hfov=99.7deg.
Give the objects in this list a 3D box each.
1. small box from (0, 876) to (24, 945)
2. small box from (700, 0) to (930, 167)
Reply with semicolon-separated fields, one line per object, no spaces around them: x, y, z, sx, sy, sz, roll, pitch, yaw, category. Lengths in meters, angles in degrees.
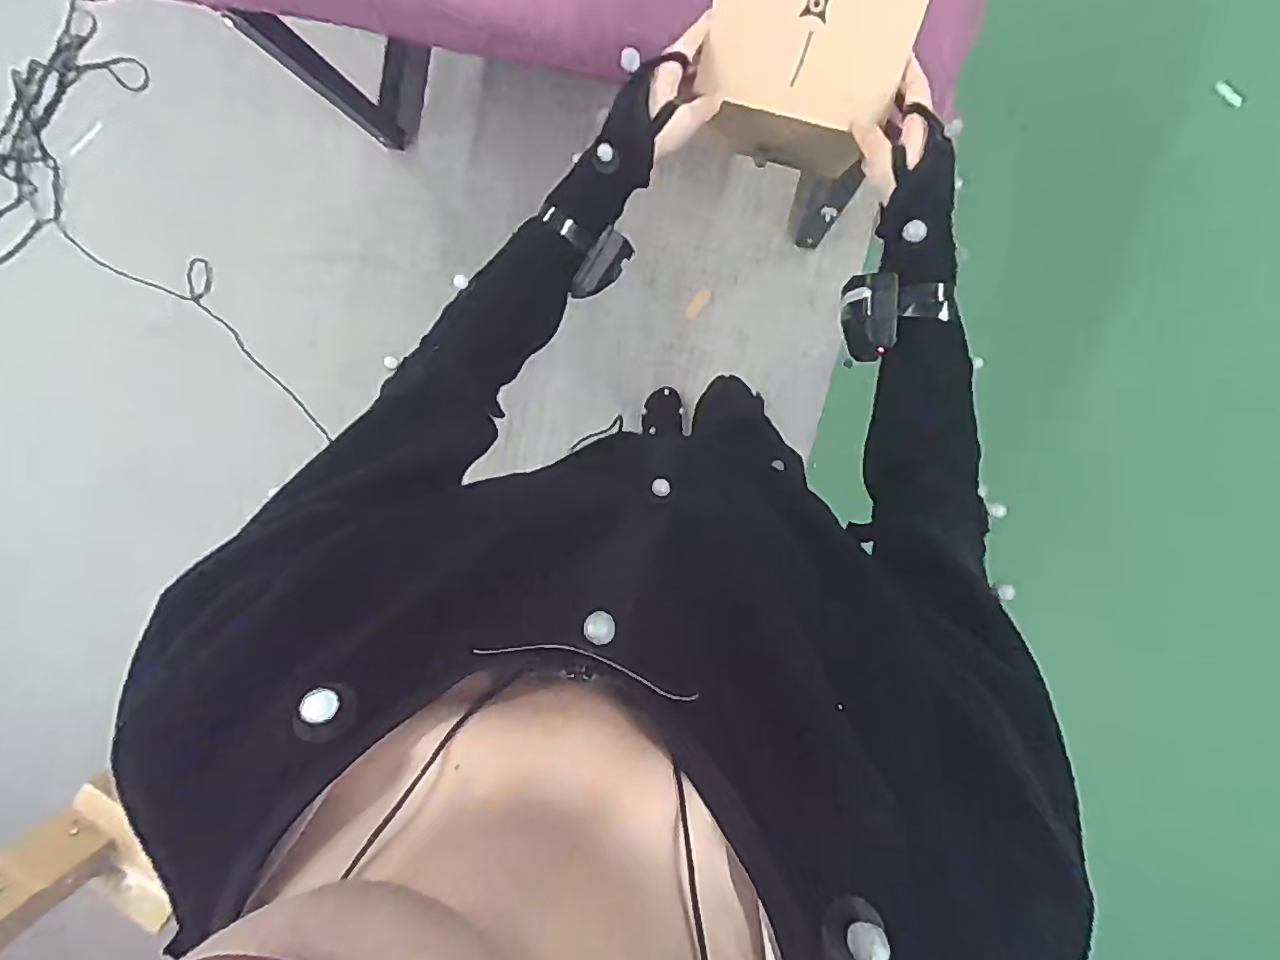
-1.627;1.061;1.268;0.168;0.176;0.179;33;100;1;small box
0.155;-0.419;0.498;0.168;0.176;0.179;16;110;1;small box
